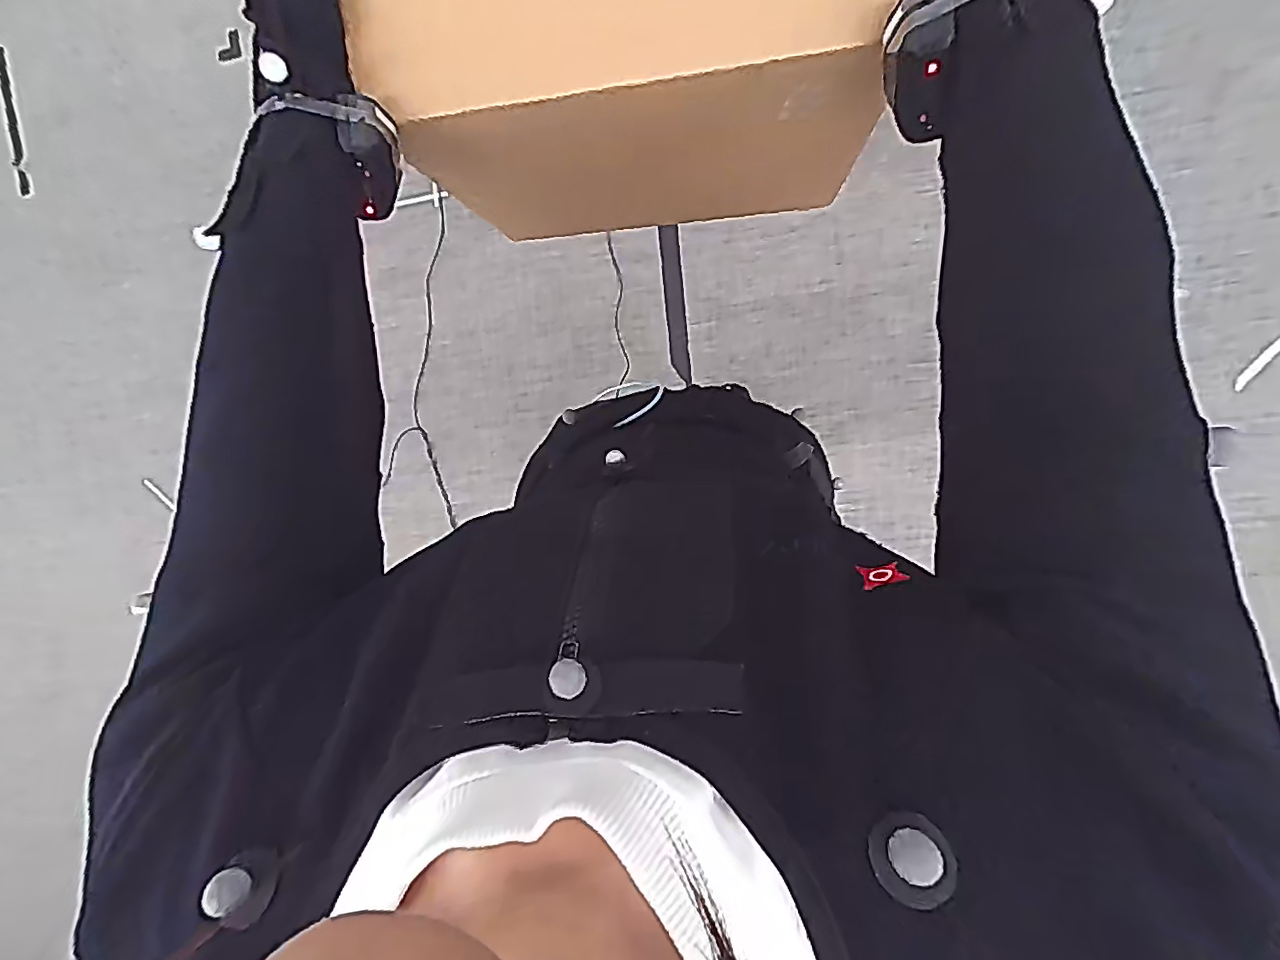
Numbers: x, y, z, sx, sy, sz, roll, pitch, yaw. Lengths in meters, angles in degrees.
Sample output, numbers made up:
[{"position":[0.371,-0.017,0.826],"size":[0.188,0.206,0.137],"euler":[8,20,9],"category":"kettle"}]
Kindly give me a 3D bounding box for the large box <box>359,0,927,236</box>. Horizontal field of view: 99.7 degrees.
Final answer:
[{"position":[0.000,-0.457,0.511],"size":[0.408,0.320,0.320],"euler":[-3,99,8],"category":"large box"}]
